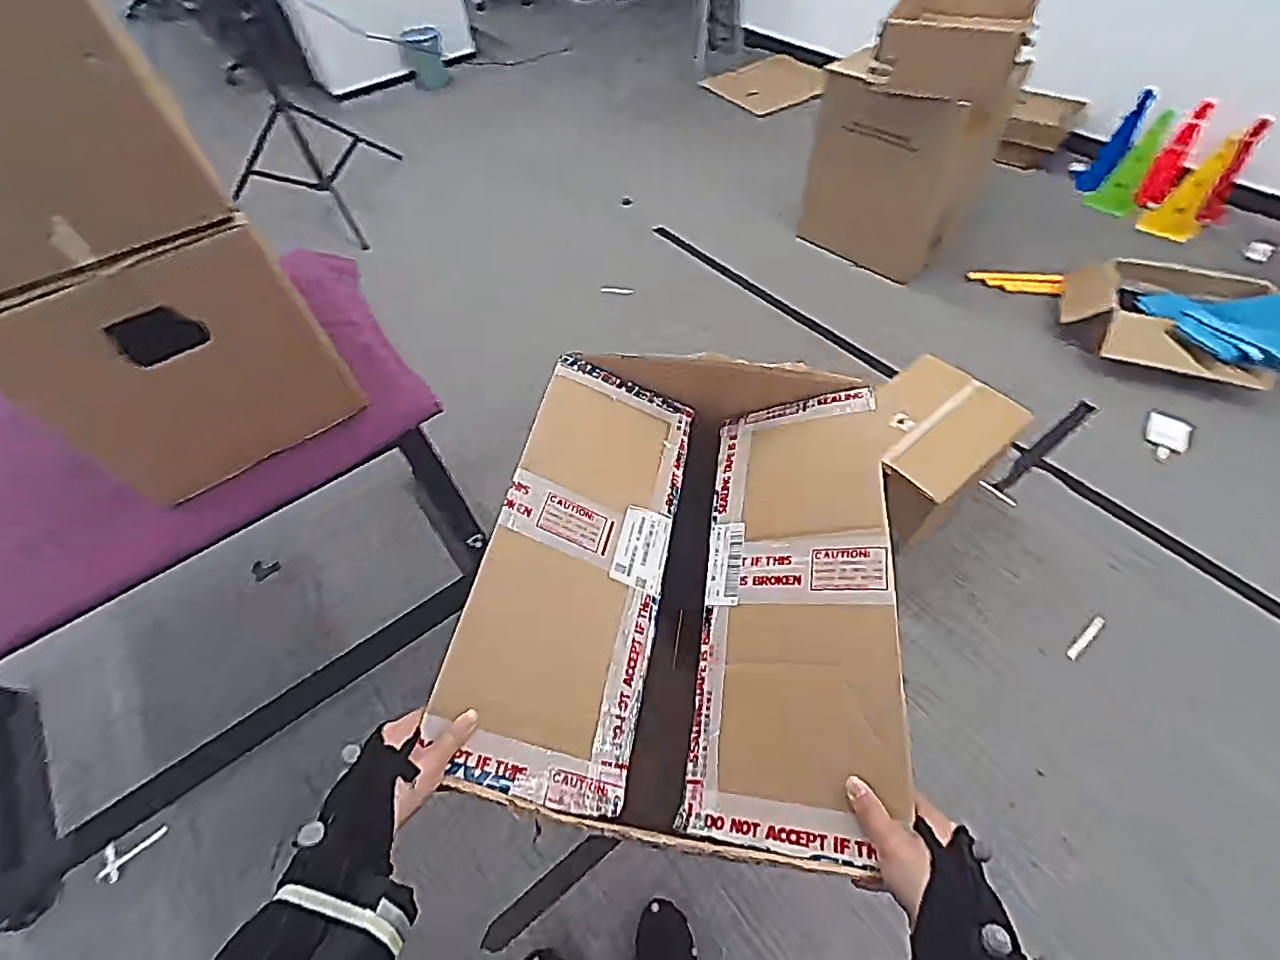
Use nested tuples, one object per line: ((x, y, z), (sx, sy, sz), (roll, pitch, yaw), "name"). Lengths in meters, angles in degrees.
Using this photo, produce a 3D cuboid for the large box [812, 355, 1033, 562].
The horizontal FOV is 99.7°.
((0.742, -0.058, 1.469), (0.408, 0.320, 0.320), (-35, 59, -19), "large box")
